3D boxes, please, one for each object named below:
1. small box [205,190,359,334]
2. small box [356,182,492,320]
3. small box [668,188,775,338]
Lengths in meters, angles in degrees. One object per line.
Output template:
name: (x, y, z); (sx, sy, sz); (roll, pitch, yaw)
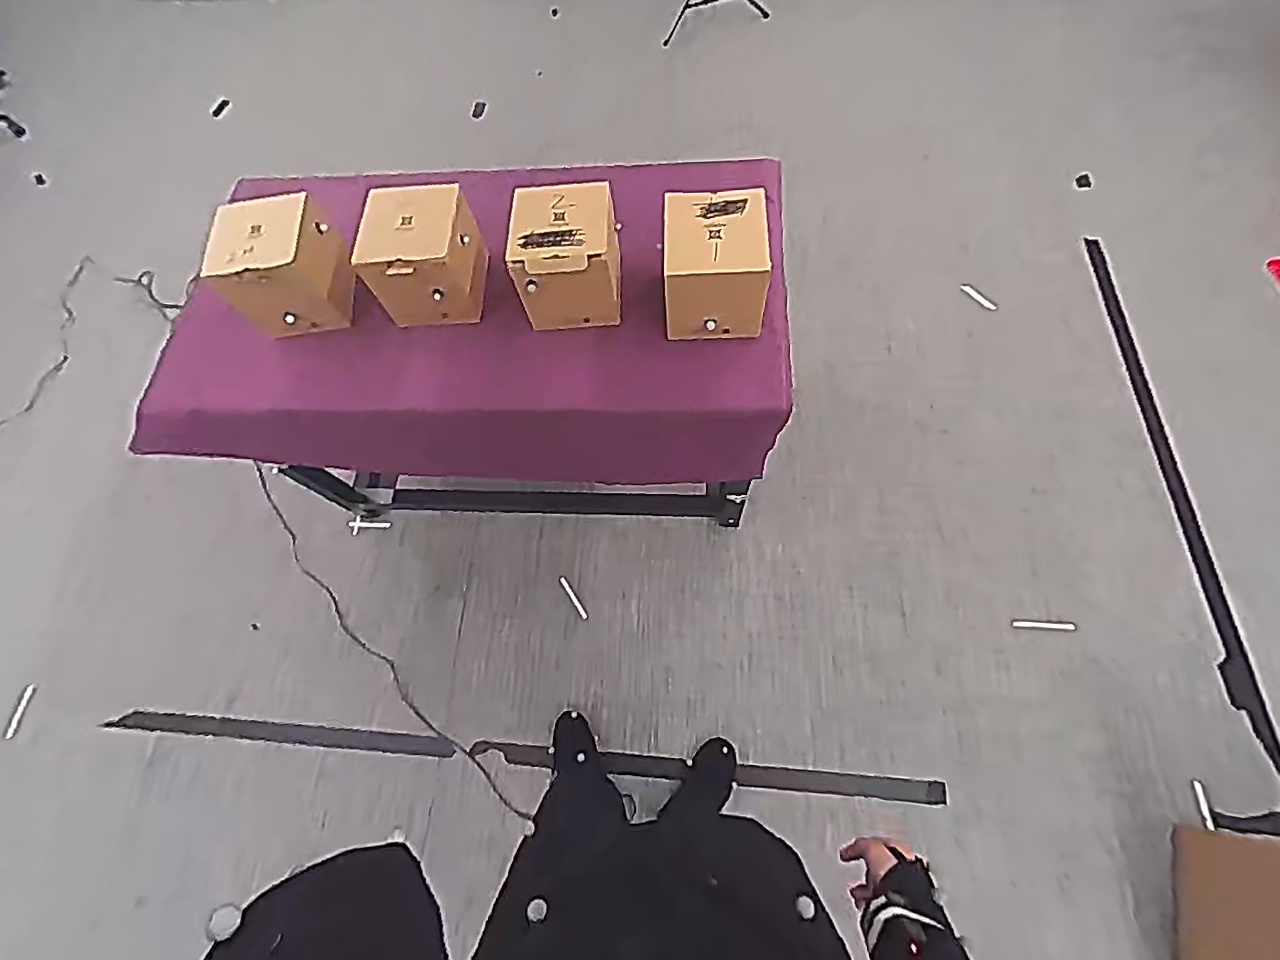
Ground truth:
small box: (-0.655, -0.403, 1.015); (0.168, 0.176, 0.179); (-7, 68, 2)
small box: (-0.385, -0.412, 0.997); (0.168, 0.176, 0.179); (-1, 67, 4)
small box: (0.134, -0.366, 0.929); (0.168, 0.176, 0.179); (0, 68, 6)
